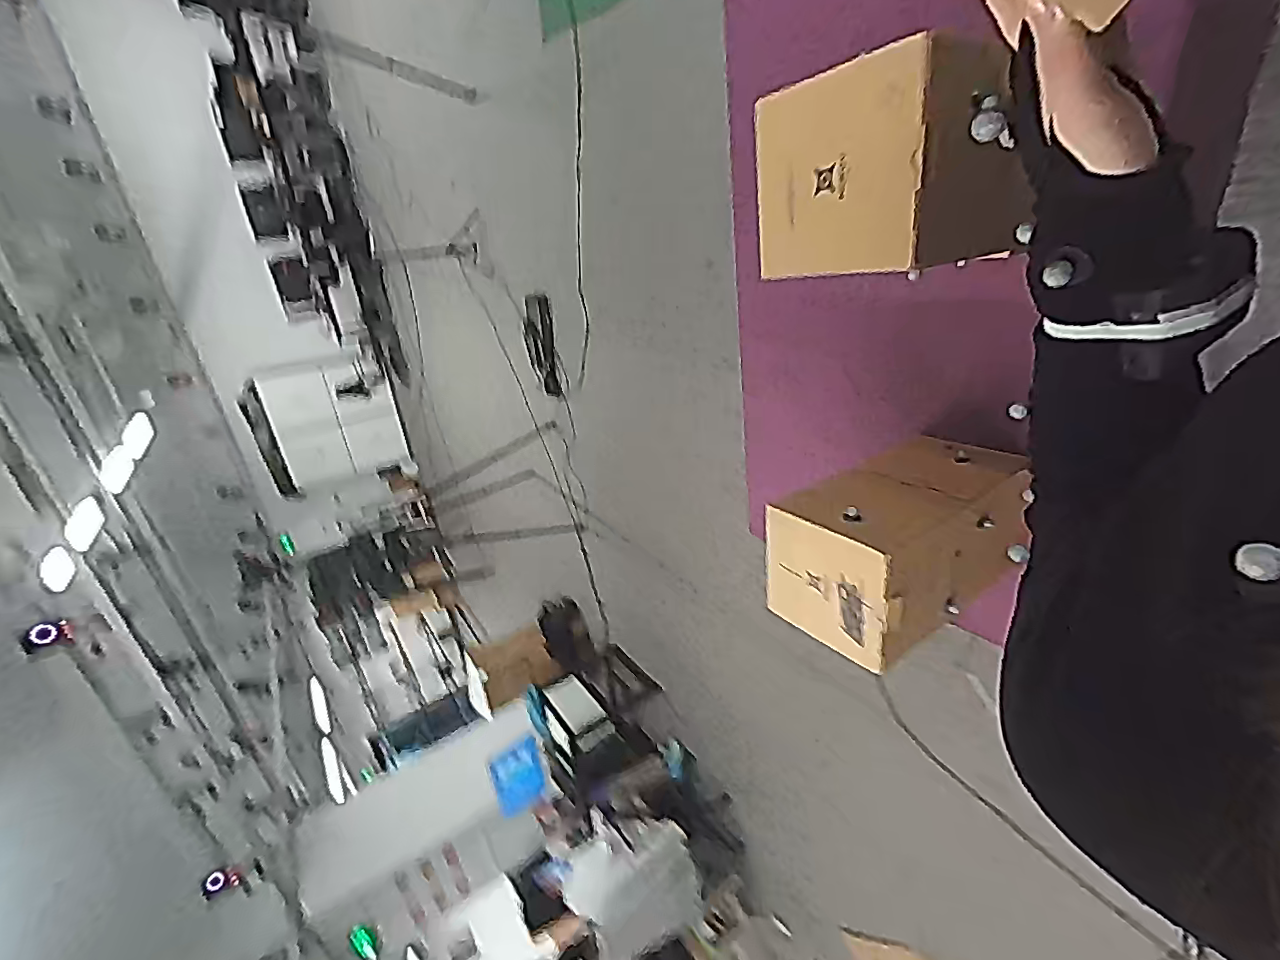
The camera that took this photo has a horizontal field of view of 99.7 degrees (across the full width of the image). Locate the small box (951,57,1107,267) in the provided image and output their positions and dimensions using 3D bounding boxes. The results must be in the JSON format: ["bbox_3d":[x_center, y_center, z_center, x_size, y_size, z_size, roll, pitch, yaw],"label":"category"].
[{"bbox_3d":[0.380,-0.343,0.607,0.168,0.176,0.179,26,130,50],"label":"small box"}]

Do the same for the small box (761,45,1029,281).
[{"bbox_3d":[0.243,-0.294,0.532,0.179,0.176,0.168,24,128,52],"label":"small box"}]

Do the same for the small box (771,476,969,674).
[{"bbox_3d":[0.294,0.107,0.703,0.179,0.176,0.168,26,128,53],"label":"small box"}]

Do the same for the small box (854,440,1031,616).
[{"bbox_3d":[0.429,0.058,0.782,0.168,0.176,0.179,24,127,52],"label":"small box"}]
